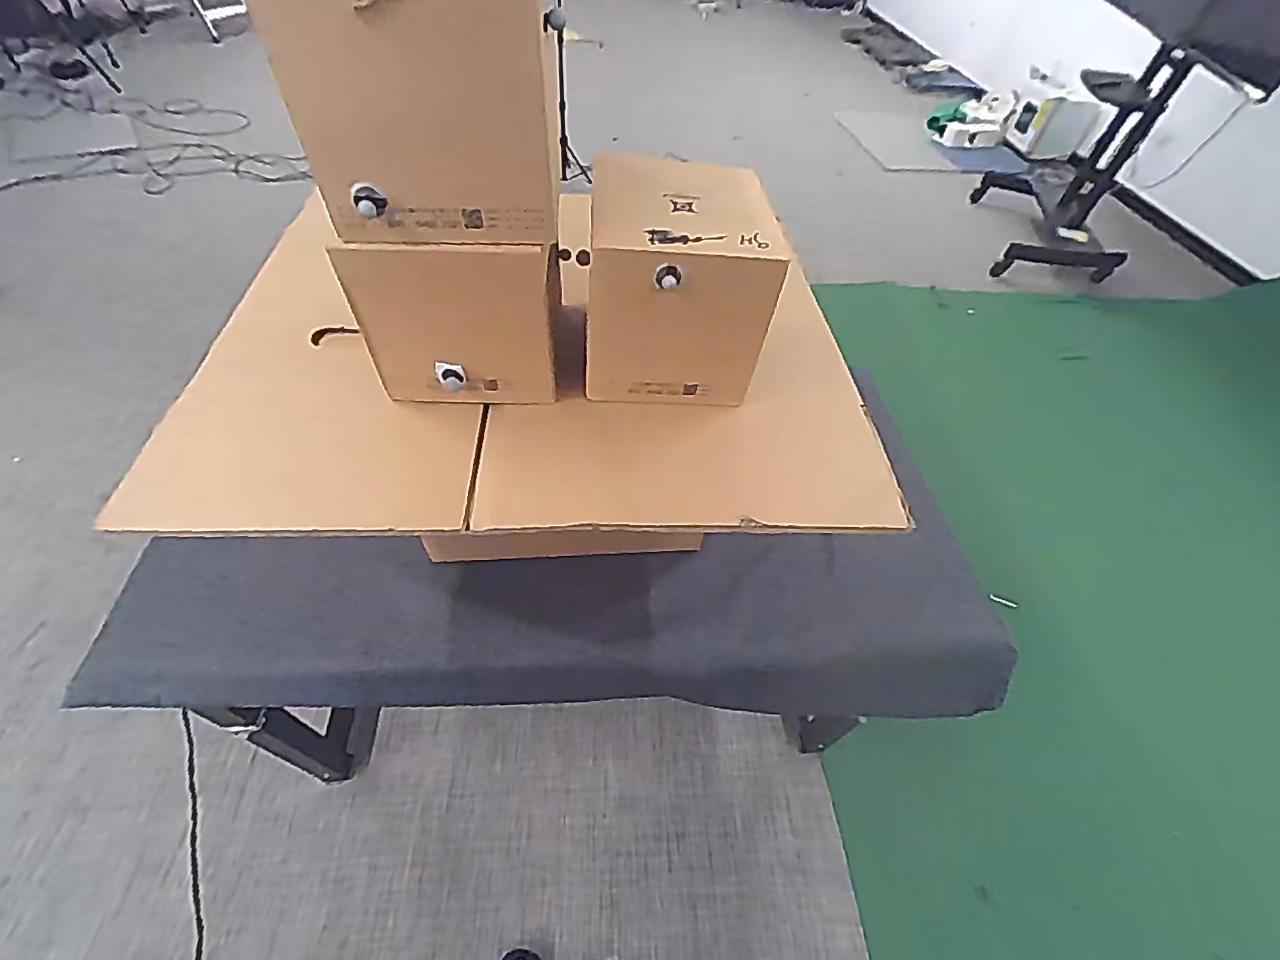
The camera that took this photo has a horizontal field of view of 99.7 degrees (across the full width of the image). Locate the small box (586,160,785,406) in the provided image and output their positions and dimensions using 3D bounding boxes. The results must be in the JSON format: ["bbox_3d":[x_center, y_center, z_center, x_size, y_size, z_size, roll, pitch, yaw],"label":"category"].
[{"bbox_3d":[0.030,-0.200,0.561,0.168,0.176,0.179,2,51,-6],"label":"small box"}]

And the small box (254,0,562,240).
[{"bbox_3d":[-0.150,-0.306,0.421,0.168,0.176,0.179,-1,51,-5],"label":"small box"}]
